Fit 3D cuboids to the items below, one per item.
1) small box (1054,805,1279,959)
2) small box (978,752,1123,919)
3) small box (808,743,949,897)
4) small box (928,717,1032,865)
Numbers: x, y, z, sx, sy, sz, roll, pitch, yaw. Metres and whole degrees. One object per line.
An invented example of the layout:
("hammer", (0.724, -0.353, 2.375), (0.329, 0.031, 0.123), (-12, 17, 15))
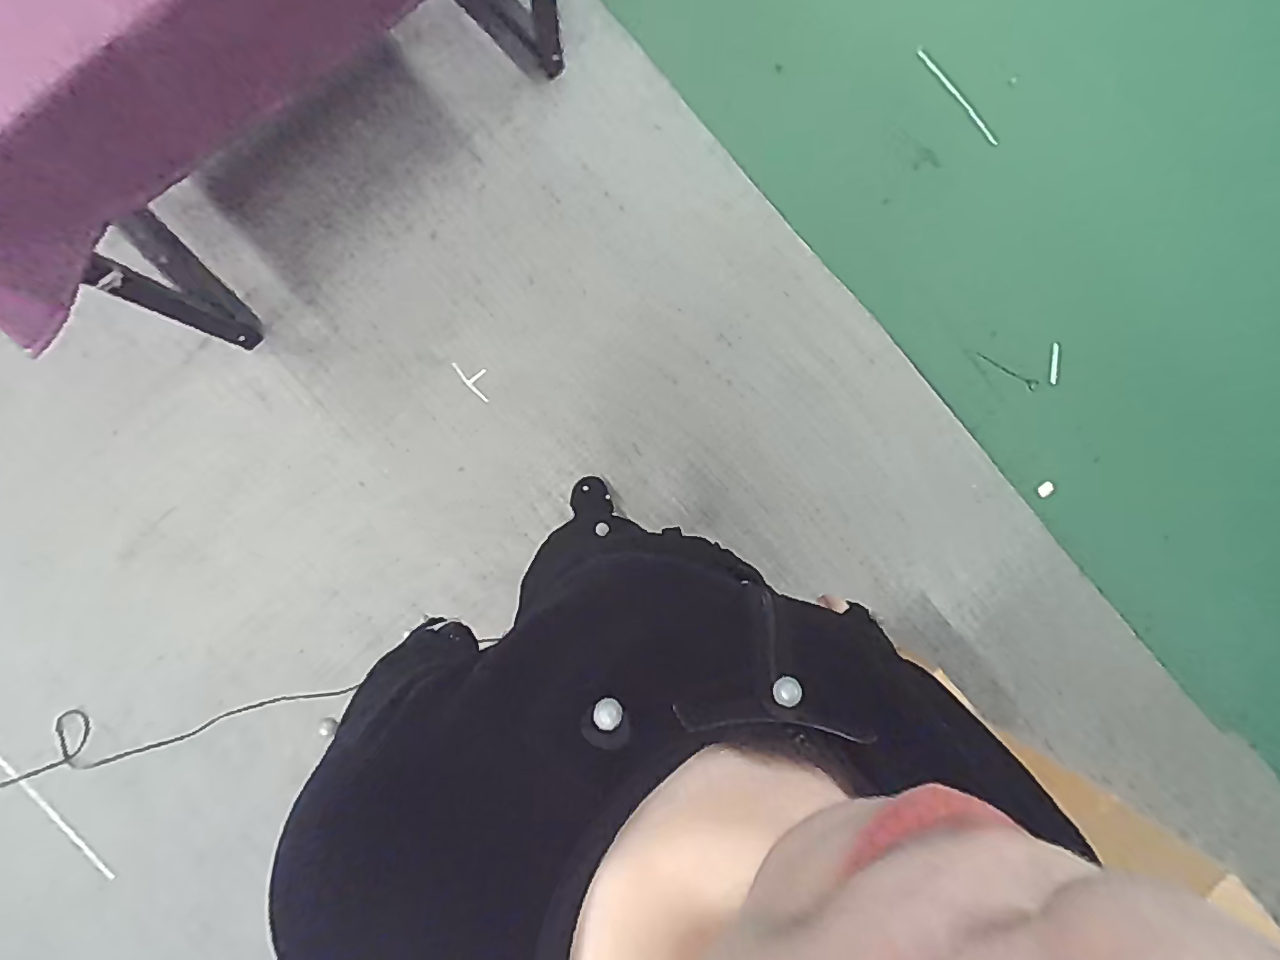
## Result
("small box", (0.792, 0.659, 0.832), (0.179, 0.176, 0.168), (-41, 95, -4))
("small box", (0.780, 0.649, 0.997), (0.179, 0.176, 0.168), (-42, 95, -3))
("small box", (0.488, 0.696, 1.131), (0.168, 0.176, 0.179), (-37, 93, -4))
("small box", (0.757, 0.652, 1.157), (0.179, 0.176, 0.168), (-43, 94, -5))
